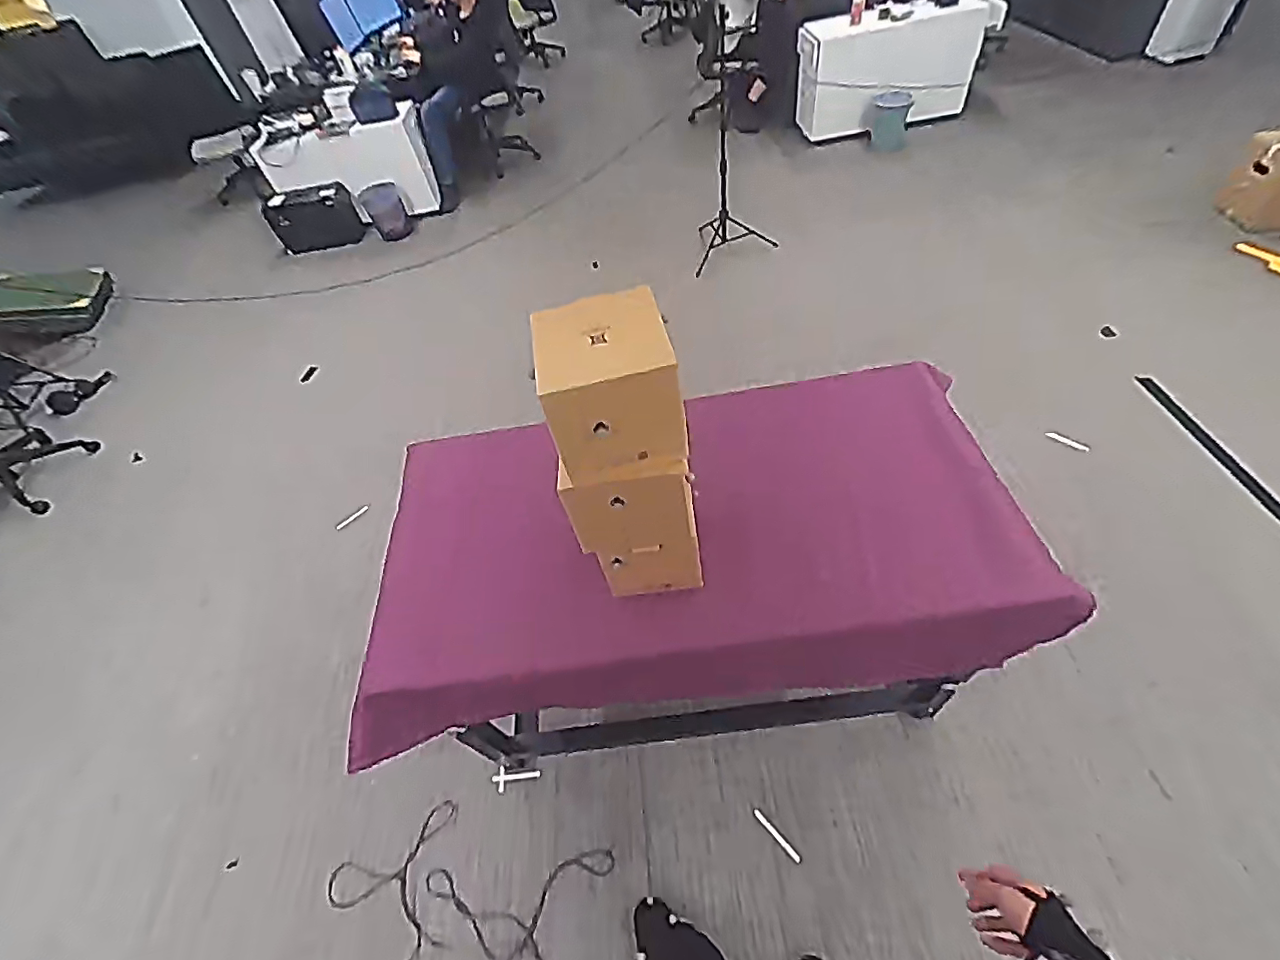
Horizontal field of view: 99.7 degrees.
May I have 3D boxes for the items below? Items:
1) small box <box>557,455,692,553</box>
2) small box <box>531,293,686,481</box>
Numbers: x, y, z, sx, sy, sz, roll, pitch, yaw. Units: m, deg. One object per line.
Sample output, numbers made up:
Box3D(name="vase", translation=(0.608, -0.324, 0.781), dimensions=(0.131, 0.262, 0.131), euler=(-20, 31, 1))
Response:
Box3D(name="small box", translation=(-0.019, -0.001, 0.841), dimensions=(0.179, 0.176, 0.168), euler=(-7, 50, 5))
Box3D(name="small box", translation=(-0.039, -0.117, 0.728), dimensions=(0.168, 0.176, 0.179), euler=(-14, 48, 0))
